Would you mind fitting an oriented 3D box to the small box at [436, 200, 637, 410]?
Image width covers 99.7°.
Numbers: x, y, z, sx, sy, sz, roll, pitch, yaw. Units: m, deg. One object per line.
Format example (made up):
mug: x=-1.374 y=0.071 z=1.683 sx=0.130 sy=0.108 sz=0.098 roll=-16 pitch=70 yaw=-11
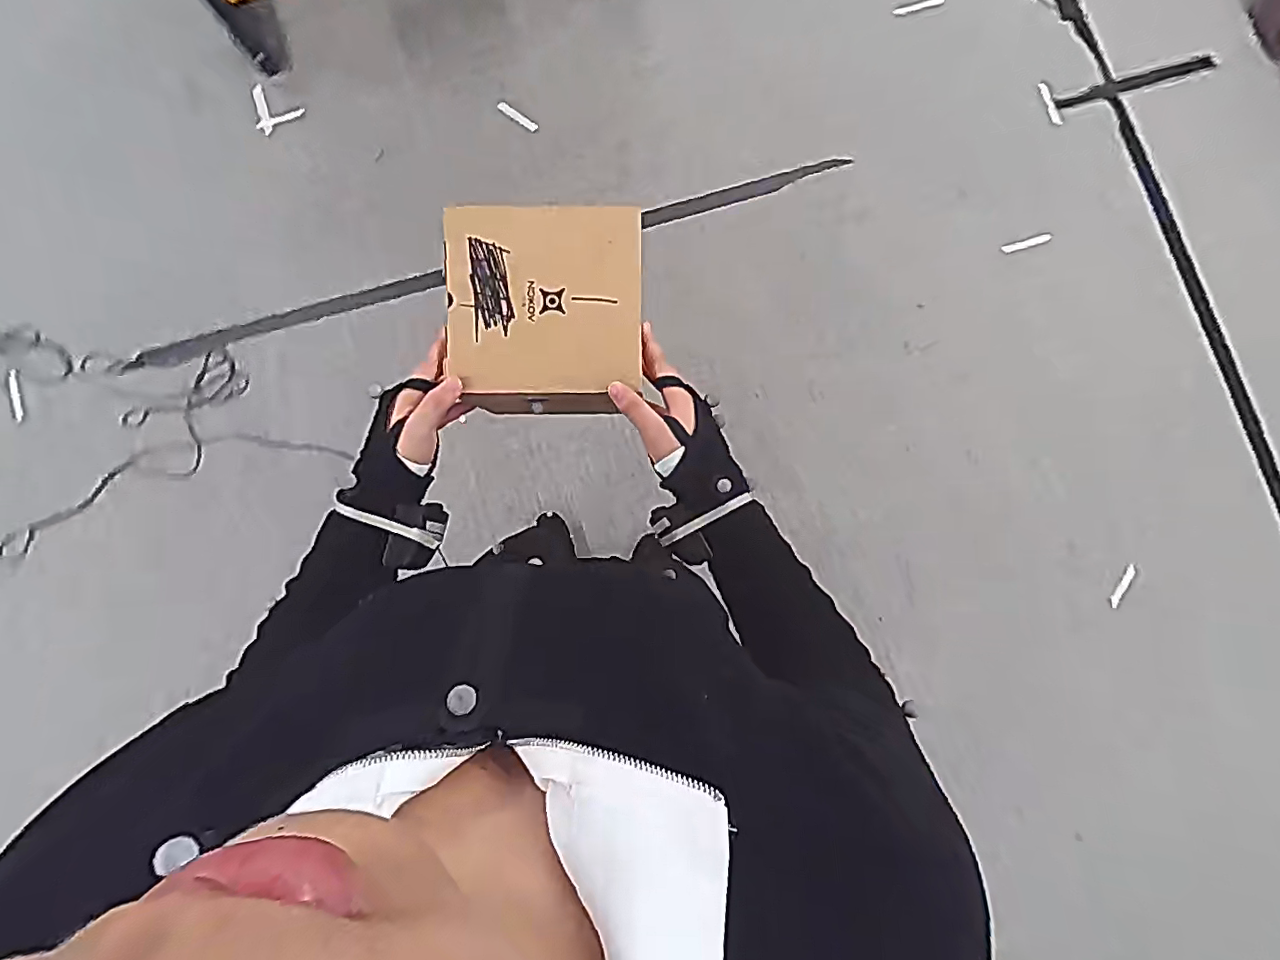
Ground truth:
small box: x=-0.093 y=-0.164 z=0.556 sx=0.179 sy=0.176 sz=0.168 roll=-1 pitch=91 yaw=-1
